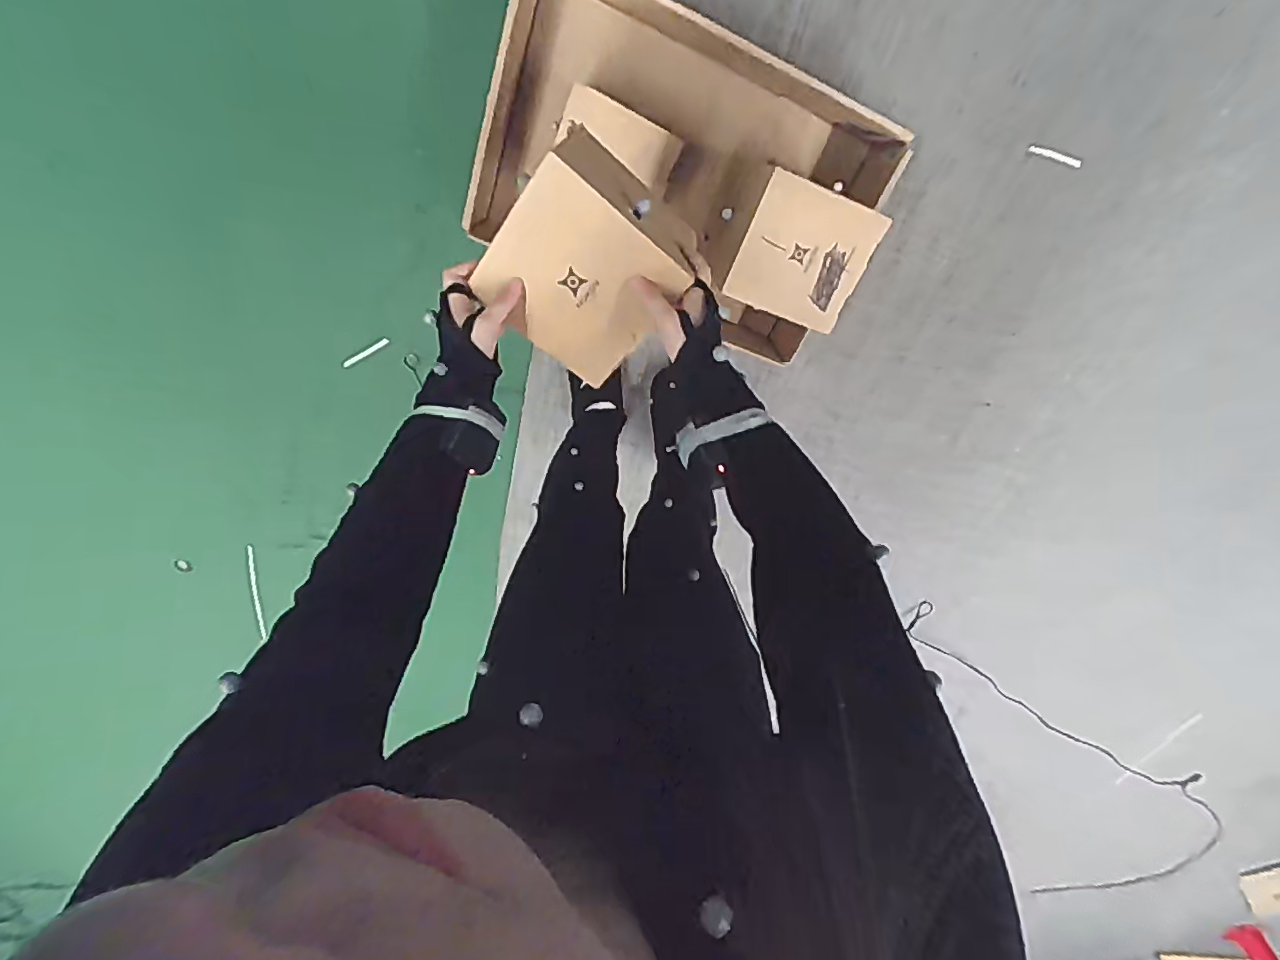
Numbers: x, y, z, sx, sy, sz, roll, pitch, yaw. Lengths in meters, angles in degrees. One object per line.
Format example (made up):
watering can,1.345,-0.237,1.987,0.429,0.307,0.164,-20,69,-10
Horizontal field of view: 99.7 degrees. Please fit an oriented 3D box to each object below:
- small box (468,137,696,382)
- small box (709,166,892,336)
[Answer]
small box,-0.056,-0.251,0.608,0.179,0.176,0.168,34,125,-22
small box,0.218,-0.338,0.788,0.179,0.176,0.168,17,121,-12
